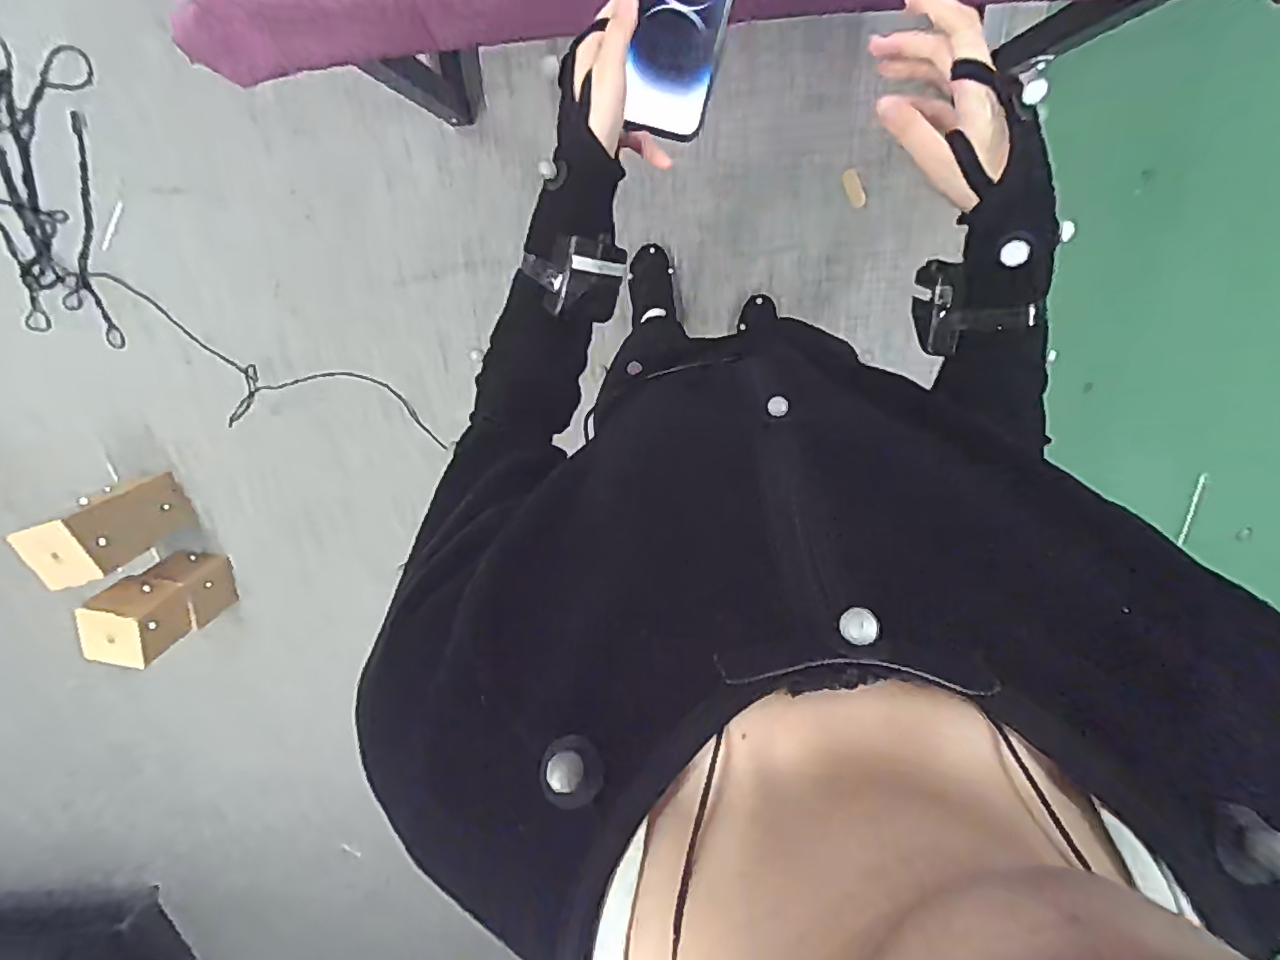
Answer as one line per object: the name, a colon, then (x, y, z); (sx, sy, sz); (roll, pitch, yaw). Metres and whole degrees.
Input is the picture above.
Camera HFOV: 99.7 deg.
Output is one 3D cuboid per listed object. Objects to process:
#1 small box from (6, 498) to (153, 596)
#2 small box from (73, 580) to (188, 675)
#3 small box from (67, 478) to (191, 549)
small box: (-1.459, 0.173, 1.425); (0.168, 0.176, 0.179); (-14, 112, 7)
small box: (-1.424, 0.412, 1.525); (0.168, 0.176, 0.179); (13, 111, -3)
small box: (-1.468, 0.105, 1.574); (0.179, 0.176, 0.168); (-9, 112, 6)
